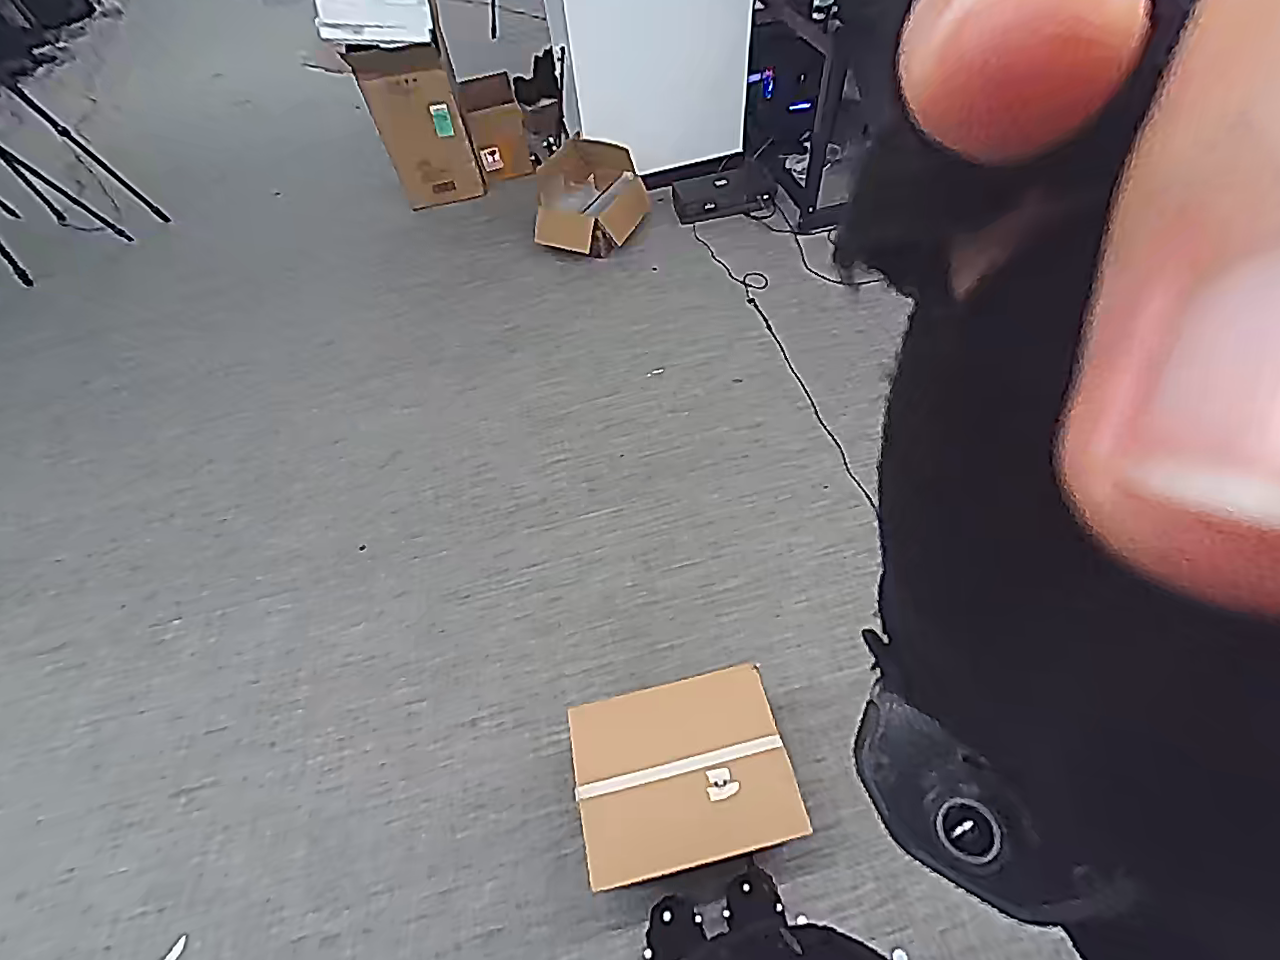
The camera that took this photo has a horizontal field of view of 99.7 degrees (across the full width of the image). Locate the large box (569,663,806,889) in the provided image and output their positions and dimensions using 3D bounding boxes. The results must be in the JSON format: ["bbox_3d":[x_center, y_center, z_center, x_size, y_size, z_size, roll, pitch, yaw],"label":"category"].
[{"bbox_3d":[0.087,0.640,1.168,0.408,0.320,0.320,-13,55,-4],"label":"large box"}]
